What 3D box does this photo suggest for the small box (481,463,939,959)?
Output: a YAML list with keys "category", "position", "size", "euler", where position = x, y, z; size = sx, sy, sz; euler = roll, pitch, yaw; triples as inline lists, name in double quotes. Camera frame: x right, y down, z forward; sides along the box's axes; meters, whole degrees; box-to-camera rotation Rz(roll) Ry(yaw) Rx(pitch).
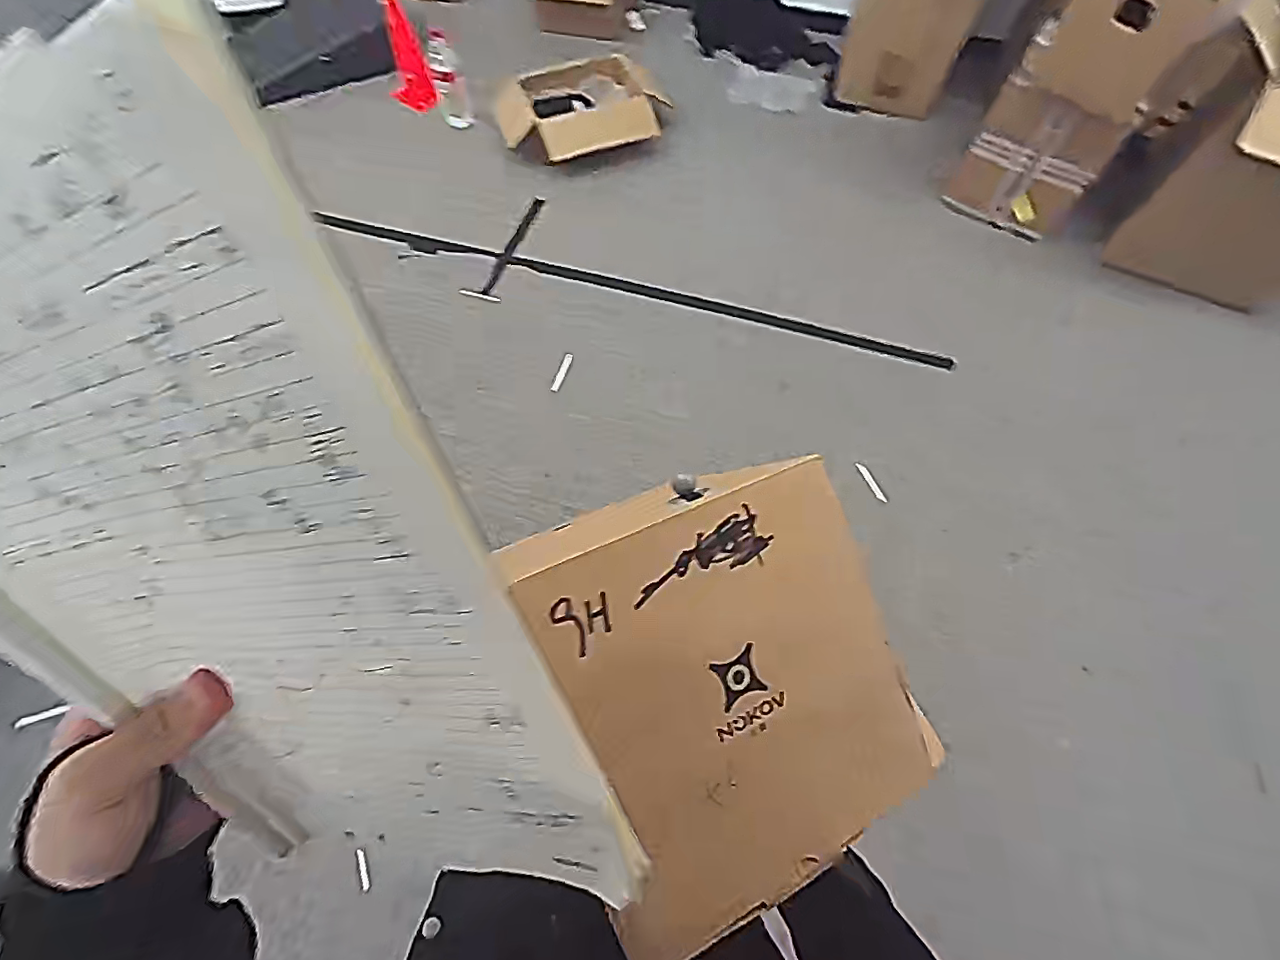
- category: "small box"
  position: [0.020, 0.103, 0.308]
  size: [0.168, 0.176, 0.179]
  euler: [-22, 93, -21]
